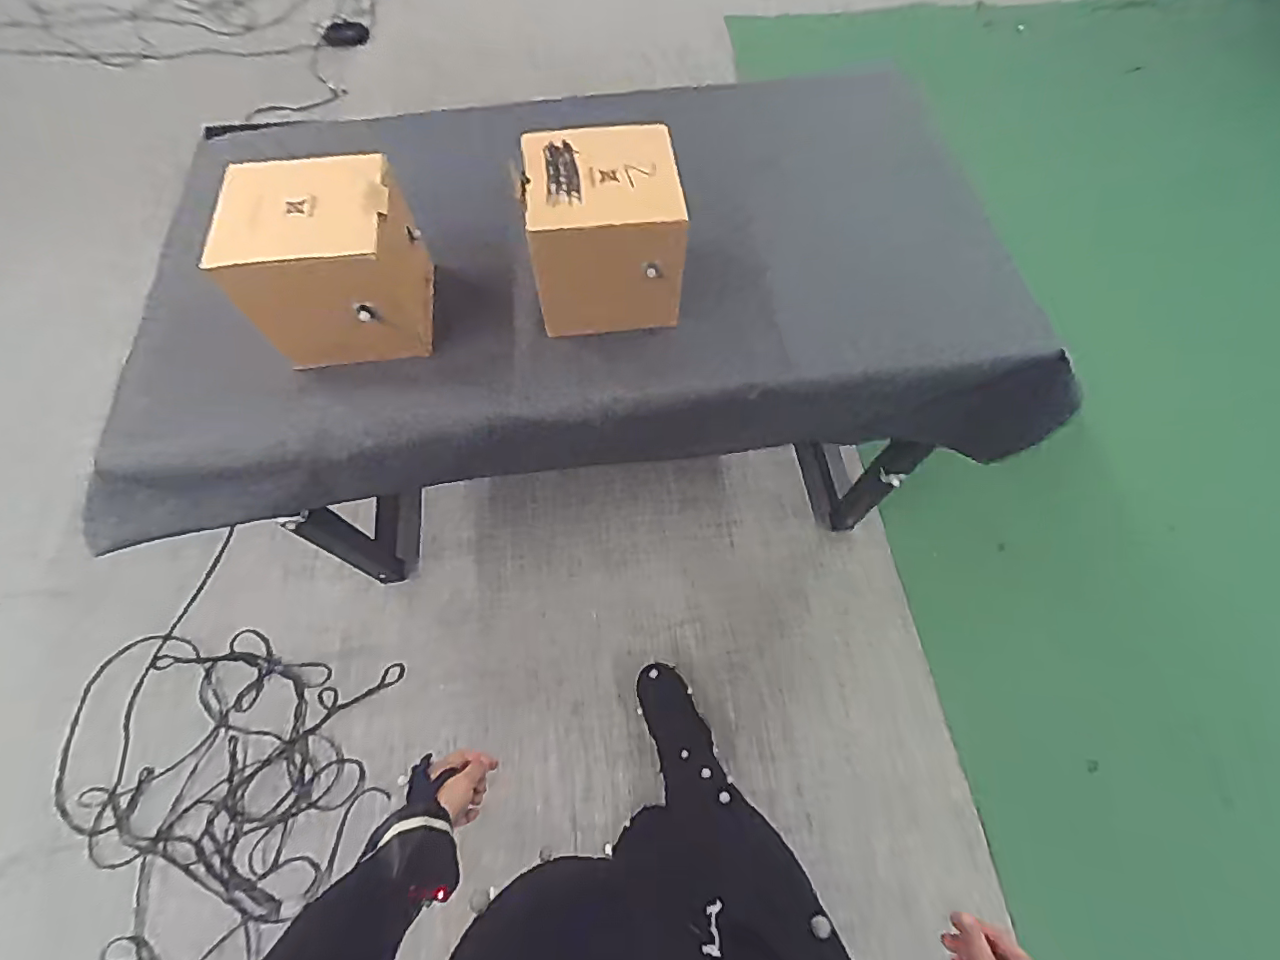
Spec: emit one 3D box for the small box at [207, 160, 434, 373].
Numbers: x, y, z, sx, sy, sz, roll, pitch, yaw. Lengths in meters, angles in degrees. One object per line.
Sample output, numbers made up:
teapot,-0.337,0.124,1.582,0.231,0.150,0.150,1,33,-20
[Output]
small box,-0.362,-0.251,0.656,0.179,0.176,0.168,-8,63,-3
